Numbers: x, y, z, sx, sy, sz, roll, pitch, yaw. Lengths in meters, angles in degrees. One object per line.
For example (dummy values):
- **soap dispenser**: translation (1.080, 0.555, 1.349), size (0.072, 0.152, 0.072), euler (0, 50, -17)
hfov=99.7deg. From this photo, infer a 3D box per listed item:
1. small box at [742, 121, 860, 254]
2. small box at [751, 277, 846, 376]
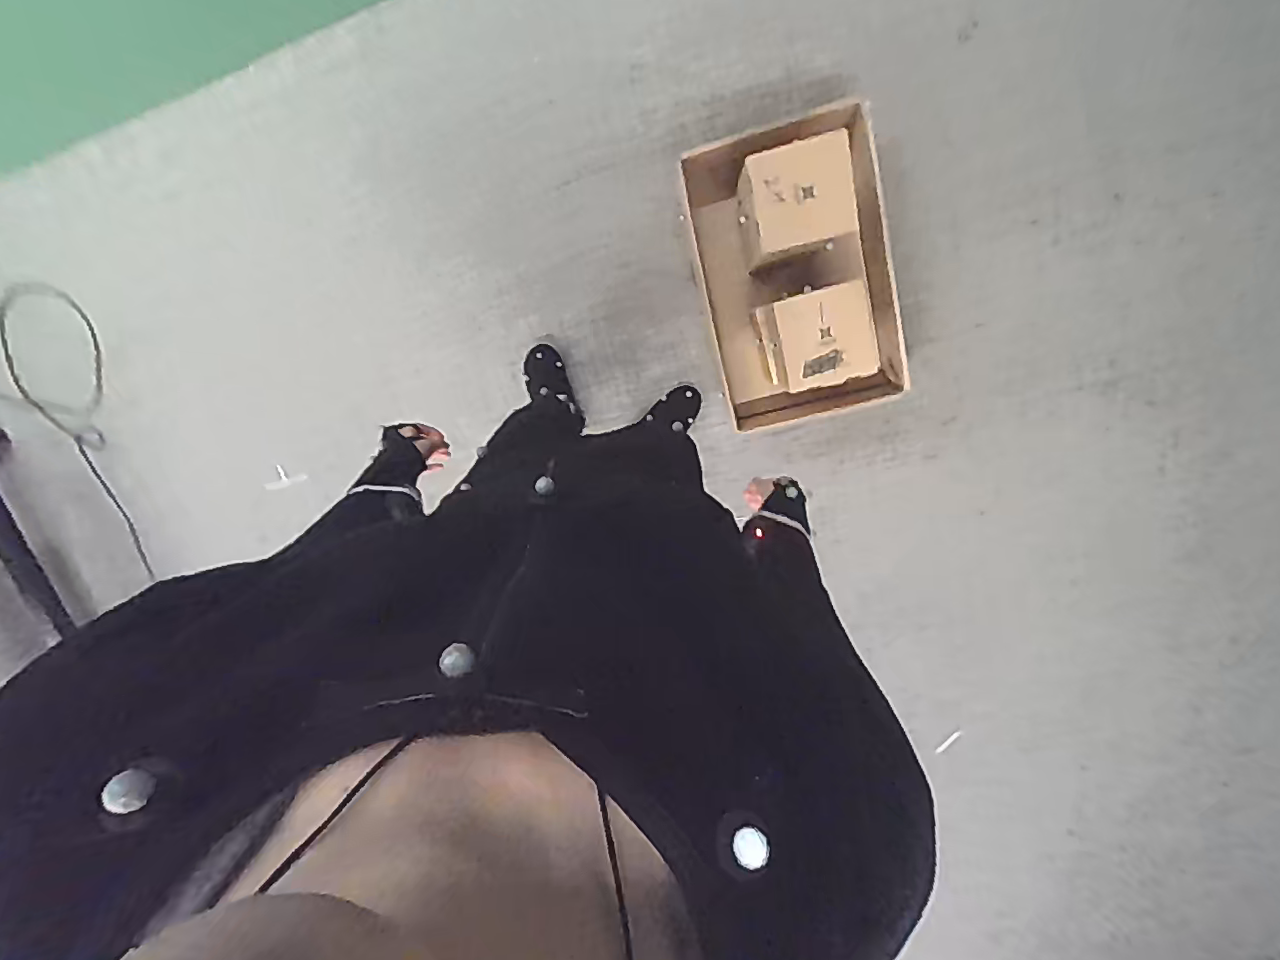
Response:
- **small box**: translation (0.296, -0.538, 1.019), size (0.179, 0.176, 0.168), euler (-10, 103, 9)
- **small box**: translation (0.355, -0.344, 1.239), size (0.168, 0.176, 0.179), euler (-14, 101, 11)
